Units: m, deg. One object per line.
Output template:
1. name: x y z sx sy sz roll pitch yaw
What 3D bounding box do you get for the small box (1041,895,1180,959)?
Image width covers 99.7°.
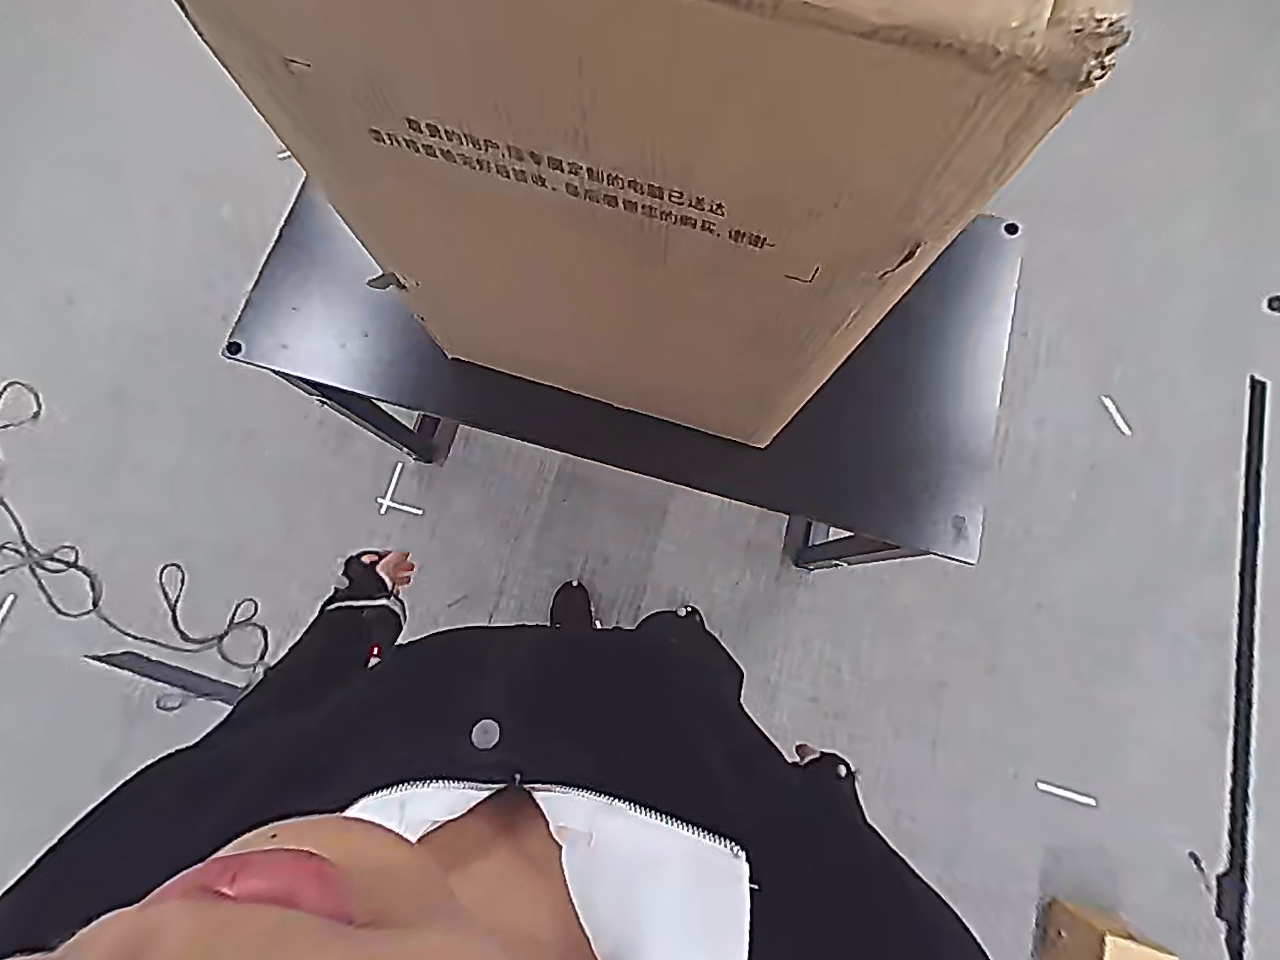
1. small box: 1.099 1.127 1.273 0.179 0.176 0.168 16 78 3
